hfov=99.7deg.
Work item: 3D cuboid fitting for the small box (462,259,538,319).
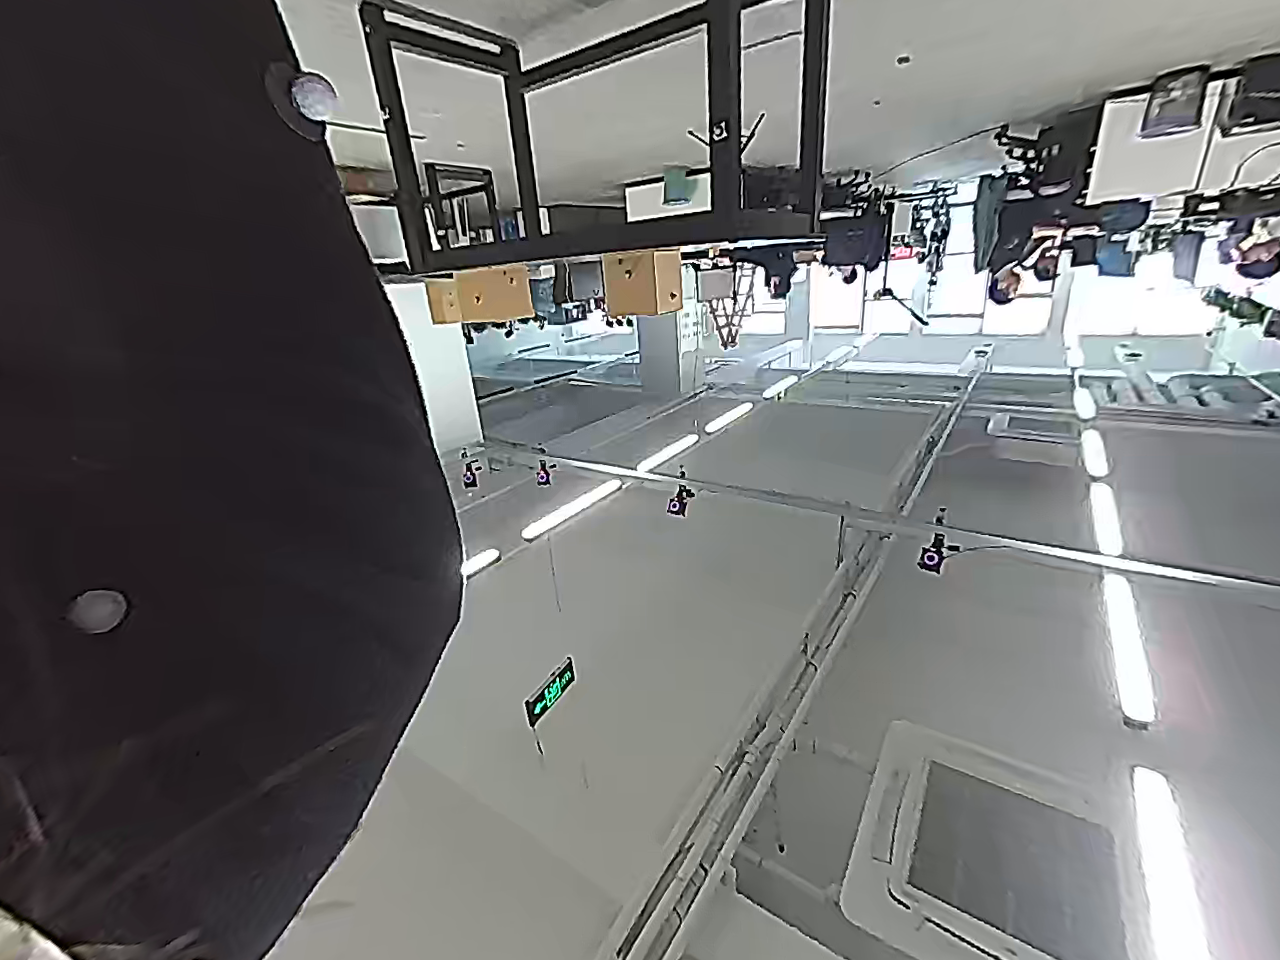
[{"bbox_3d":[-0.464,-0.630,1.778,0.179,0.176,0.168,8,-154,32],"label":"small box"}]

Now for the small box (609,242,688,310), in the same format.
[{"bbox_3d":[0.027,-0.586,1.550,0.168,0.176,0.179,7,-155,29],"label":"small box"}]
